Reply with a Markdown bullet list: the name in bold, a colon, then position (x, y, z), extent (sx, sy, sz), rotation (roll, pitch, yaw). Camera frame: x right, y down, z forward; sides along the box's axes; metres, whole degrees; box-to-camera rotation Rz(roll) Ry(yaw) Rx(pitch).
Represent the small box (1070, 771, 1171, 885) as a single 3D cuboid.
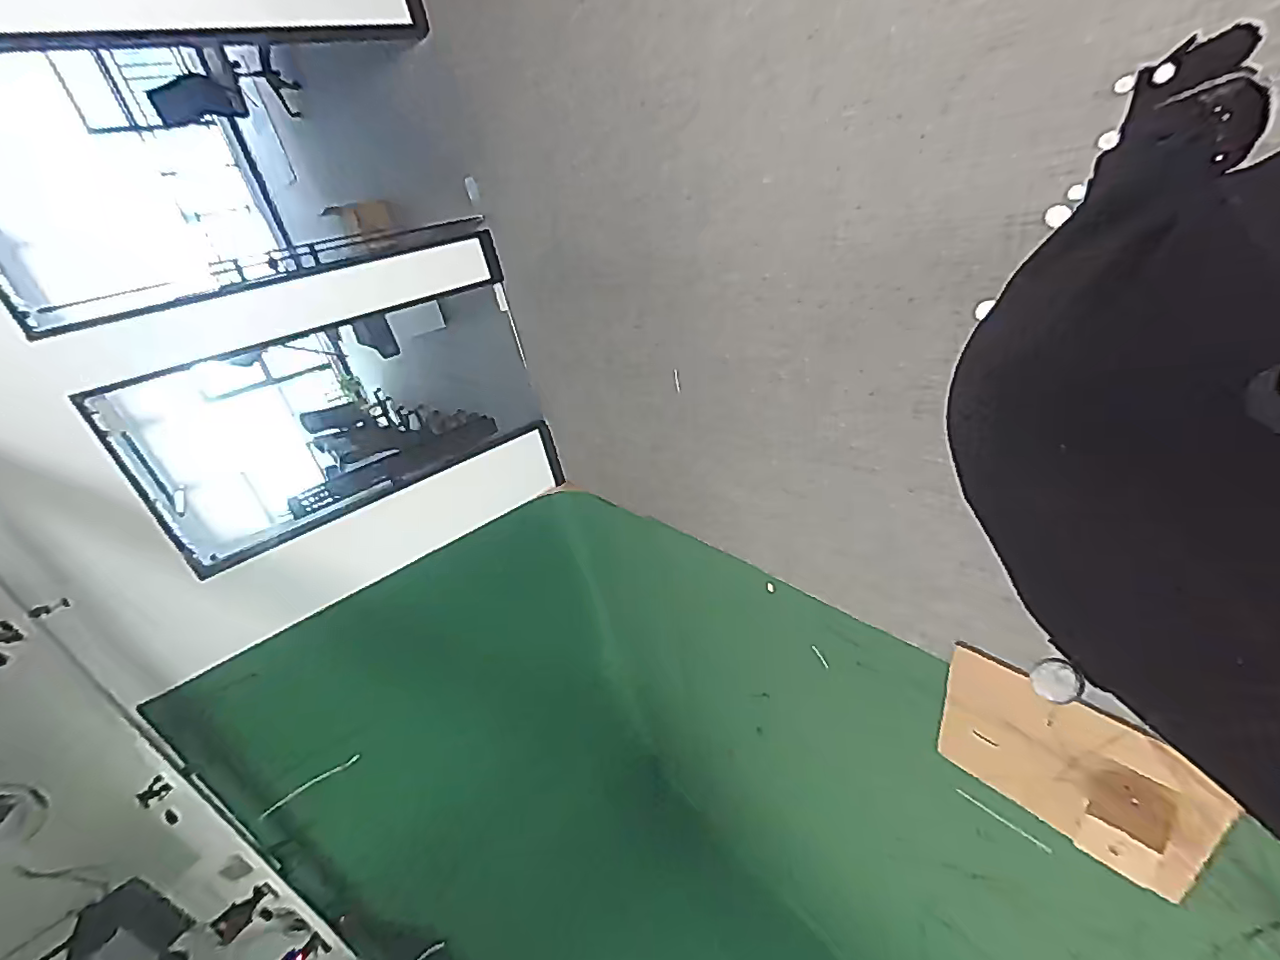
- **small box**: position (1.365, 0.982, 1.537), extent (0.168, 0.176, 0.179), rotation (22, 133, 46)
